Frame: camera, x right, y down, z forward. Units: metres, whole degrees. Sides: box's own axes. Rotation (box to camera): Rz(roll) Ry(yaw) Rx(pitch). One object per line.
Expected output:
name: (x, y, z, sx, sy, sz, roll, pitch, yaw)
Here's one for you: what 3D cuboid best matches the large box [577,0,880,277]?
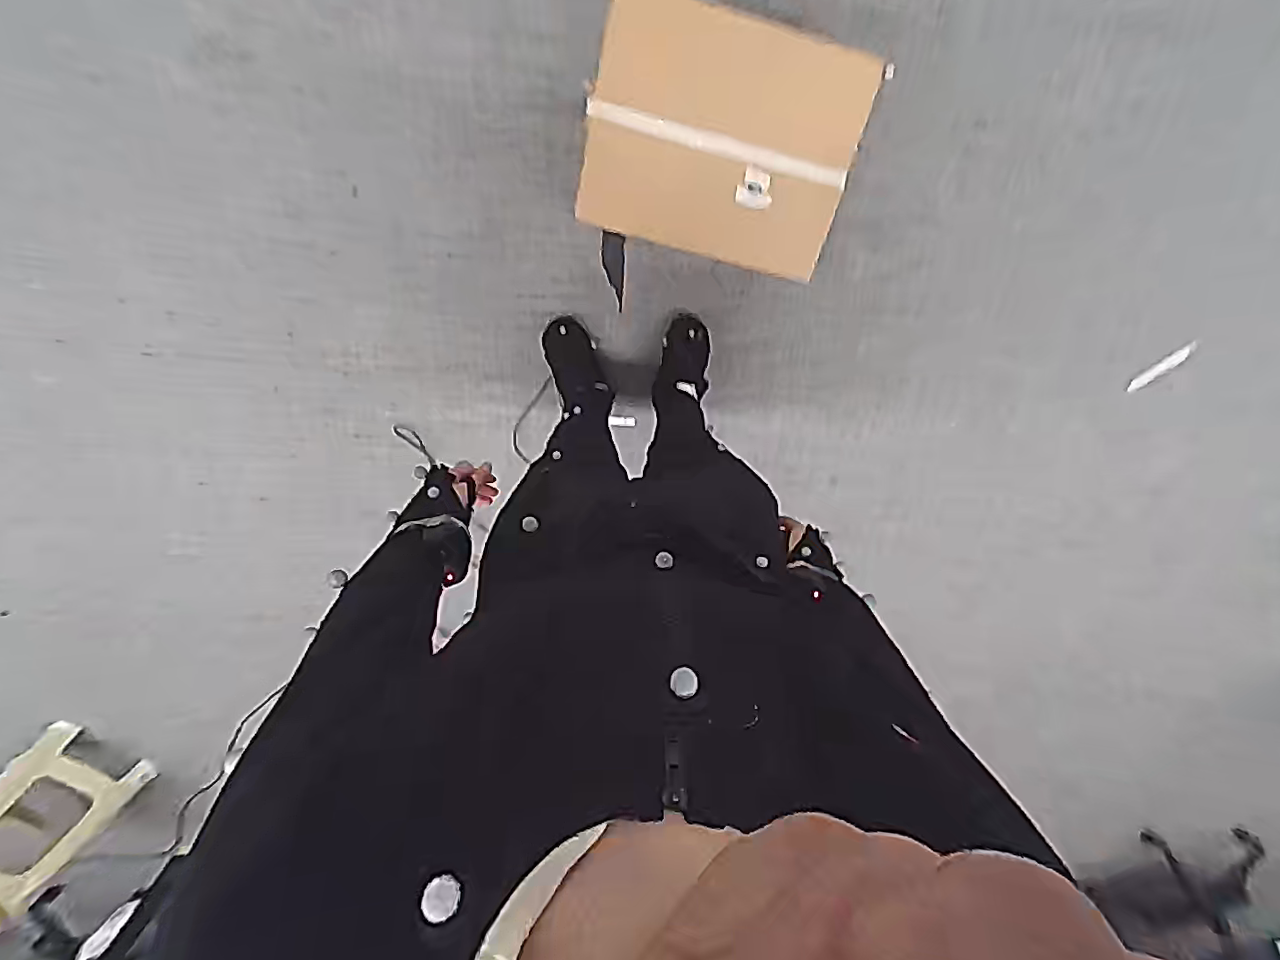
large box: (0.117, -0.574, 0.952, 0.408, 0.320, 0.320, 11, 116, -8)
